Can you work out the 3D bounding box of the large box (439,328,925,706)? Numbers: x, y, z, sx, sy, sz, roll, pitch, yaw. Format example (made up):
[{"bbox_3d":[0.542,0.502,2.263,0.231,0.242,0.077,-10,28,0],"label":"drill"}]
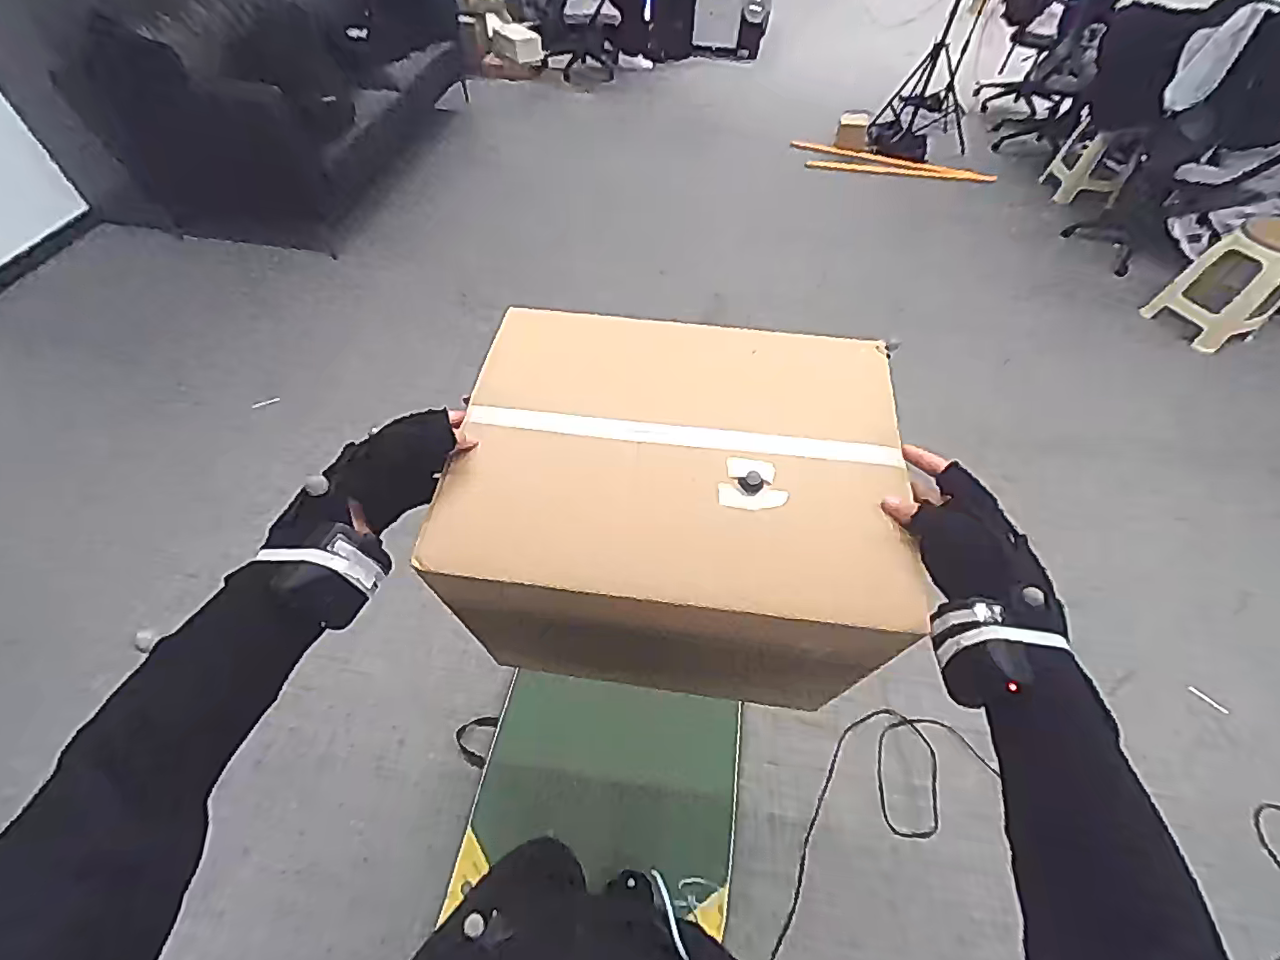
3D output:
[{"bbox_3d":[0.042,0.055,0.639,0.408,0.320,0.320,7,57,3],"label":"large box"}]
